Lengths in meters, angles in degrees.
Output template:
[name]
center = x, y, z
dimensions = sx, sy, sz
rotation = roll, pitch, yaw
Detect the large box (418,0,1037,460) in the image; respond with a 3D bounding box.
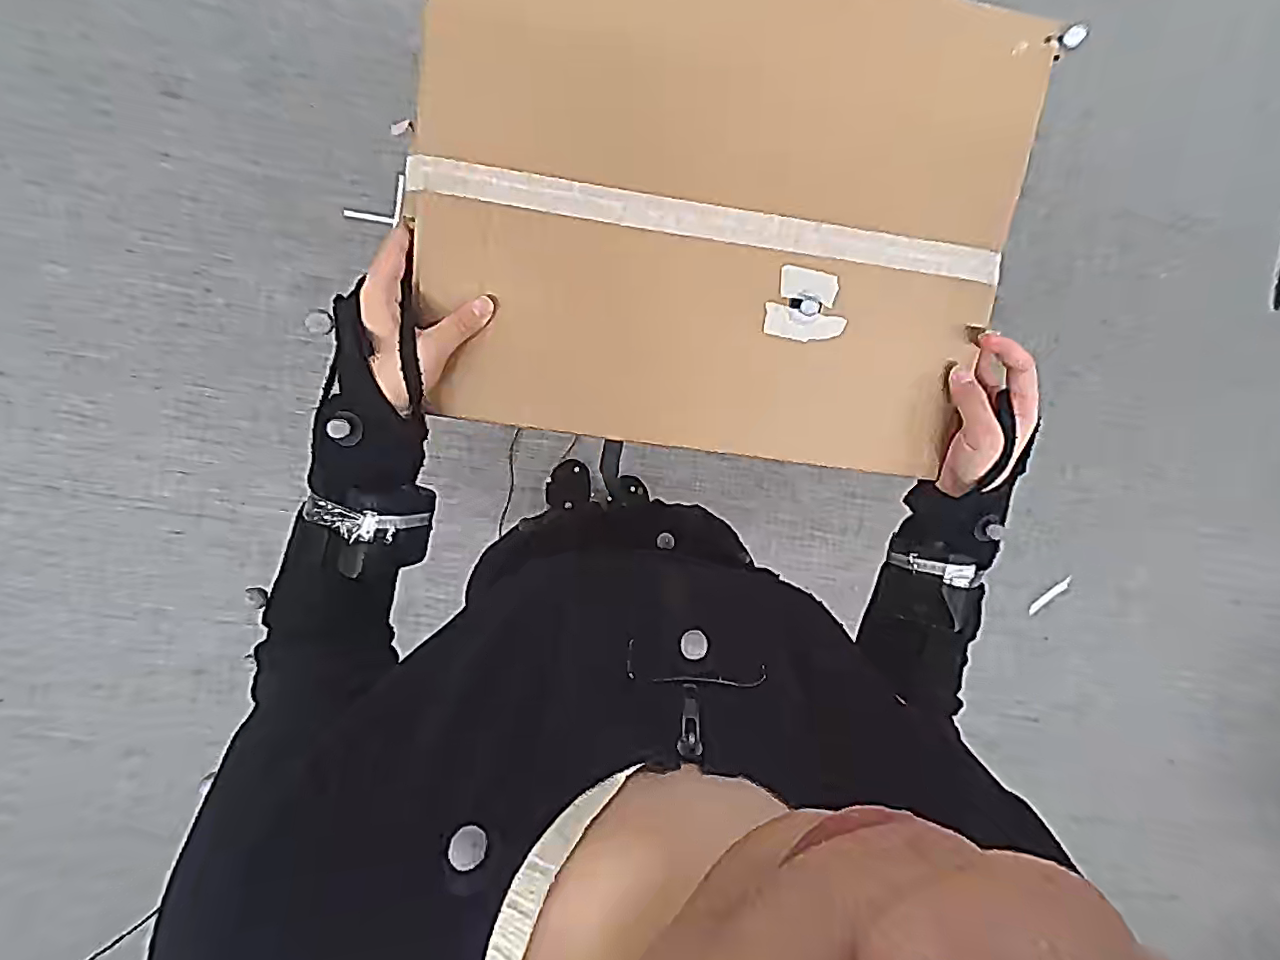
[large box]
center = 0.041, -0.216, 0.519
dimensions = 0.408, 0.320, 0.320
rotation = 7, 103, -6
